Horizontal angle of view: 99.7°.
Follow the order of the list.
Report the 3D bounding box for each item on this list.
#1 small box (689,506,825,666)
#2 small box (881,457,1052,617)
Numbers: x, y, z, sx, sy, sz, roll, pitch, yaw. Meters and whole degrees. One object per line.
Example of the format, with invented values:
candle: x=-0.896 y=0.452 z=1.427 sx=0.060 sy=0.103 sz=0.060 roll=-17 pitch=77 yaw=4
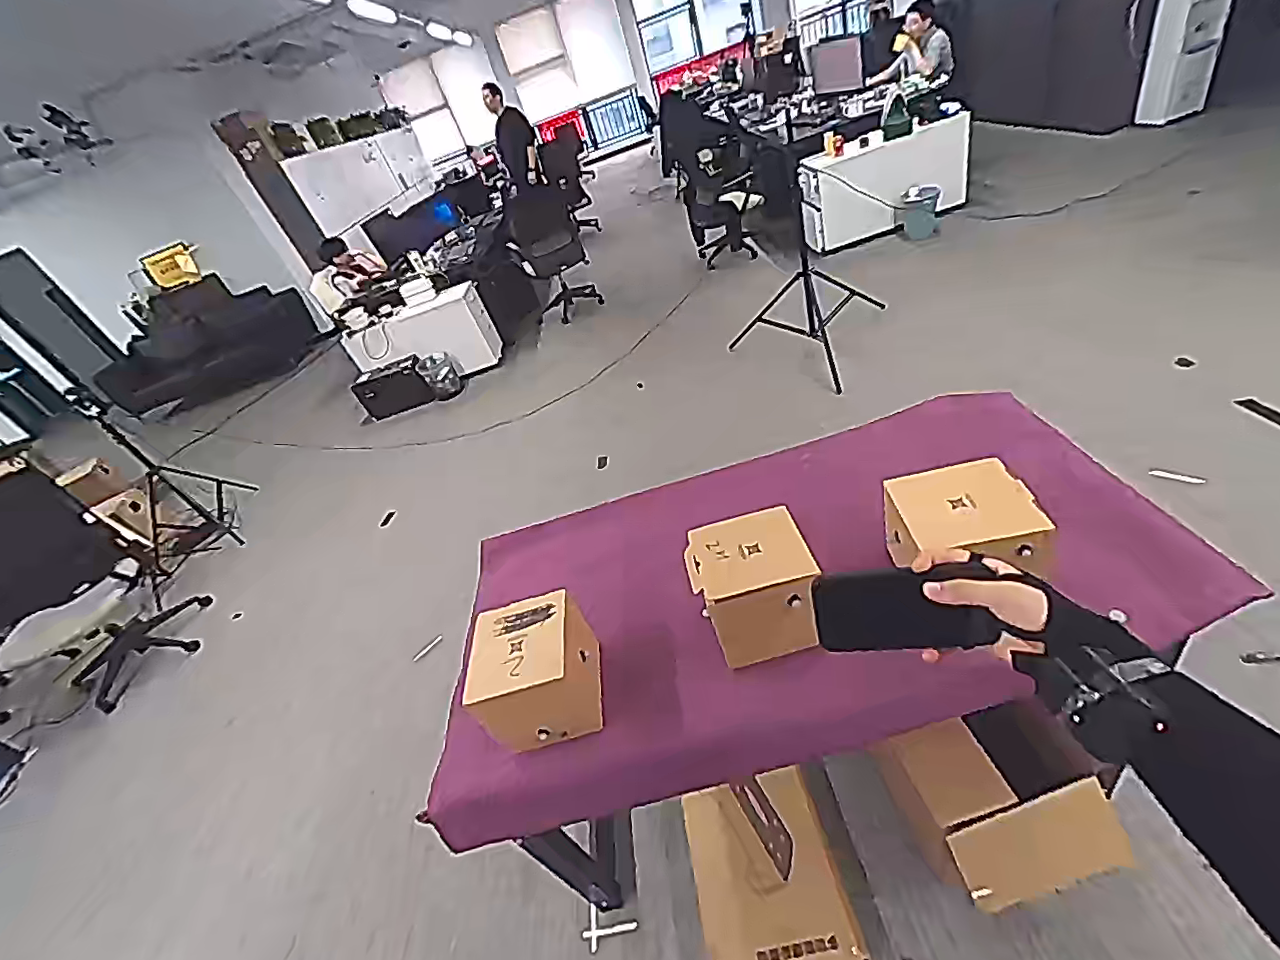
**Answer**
small box: x=0.195 y=0.177 z=0.898 sx=0.179 sy=0.176 sz=0.168 roll=-18 pitch=34 yaw=5
small box: x=0.499 y=0.093 z=0.849 sx=0.179 sy=0.176 sz=0.168 roll=-14 pitch=37 yaw=11
